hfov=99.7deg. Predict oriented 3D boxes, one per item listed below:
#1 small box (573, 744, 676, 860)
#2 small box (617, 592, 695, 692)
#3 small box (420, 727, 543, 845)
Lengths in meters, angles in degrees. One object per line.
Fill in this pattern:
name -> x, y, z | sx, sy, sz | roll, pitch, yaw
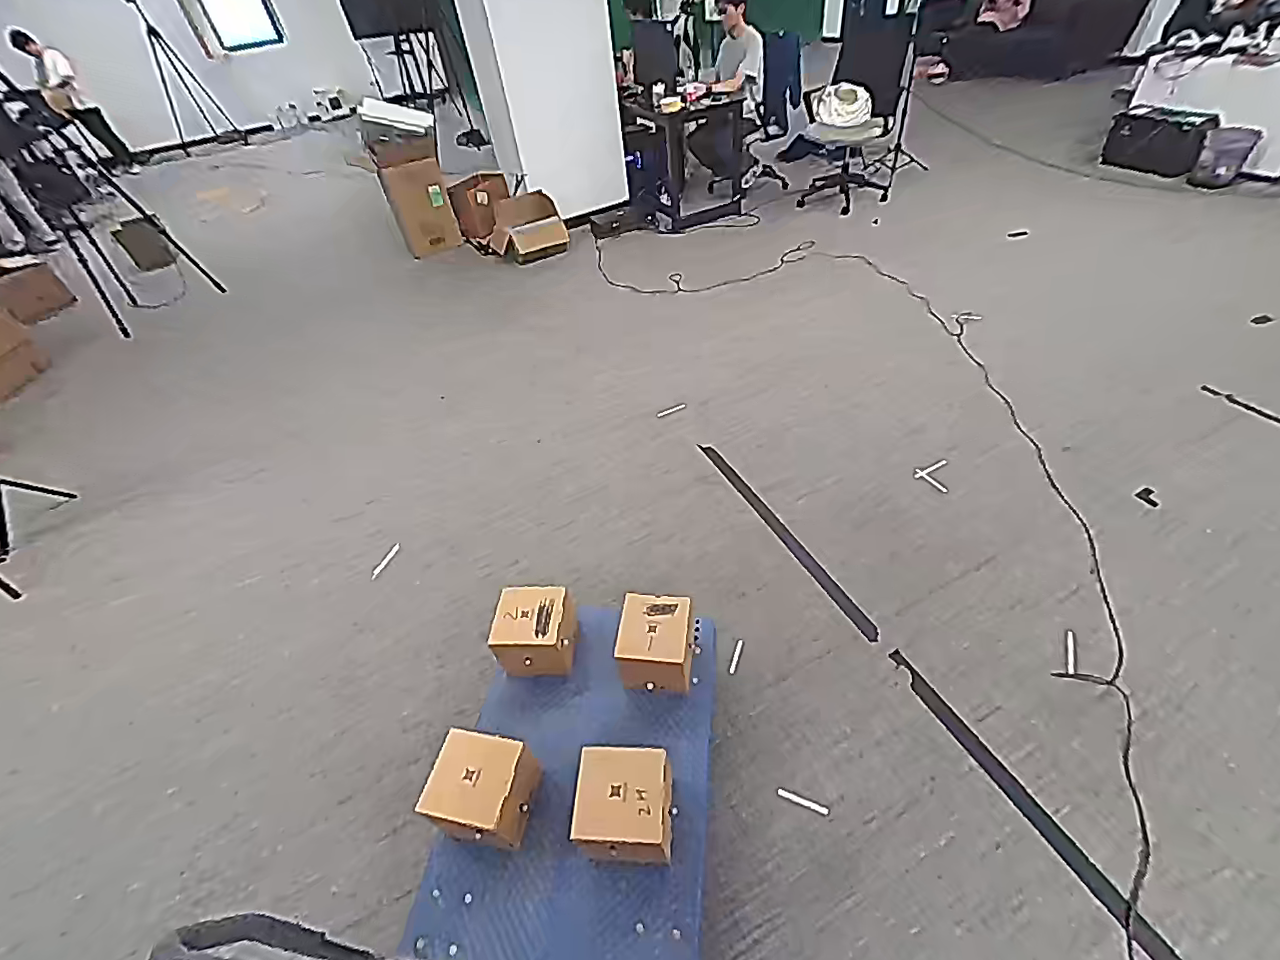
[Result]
small box -> -0.024, 0.659, 1.105 | 0.179, 0.176, 0.168 | -2, 45, 8
small box -> 0.047, 0.404, 1.352 | 0.168, 0.176, 0.179 | 1, 46, 12
small box -> -0.329, 0.657, 1.159 | 0.179, 0.176, 0.168 | 5, 45, 12
